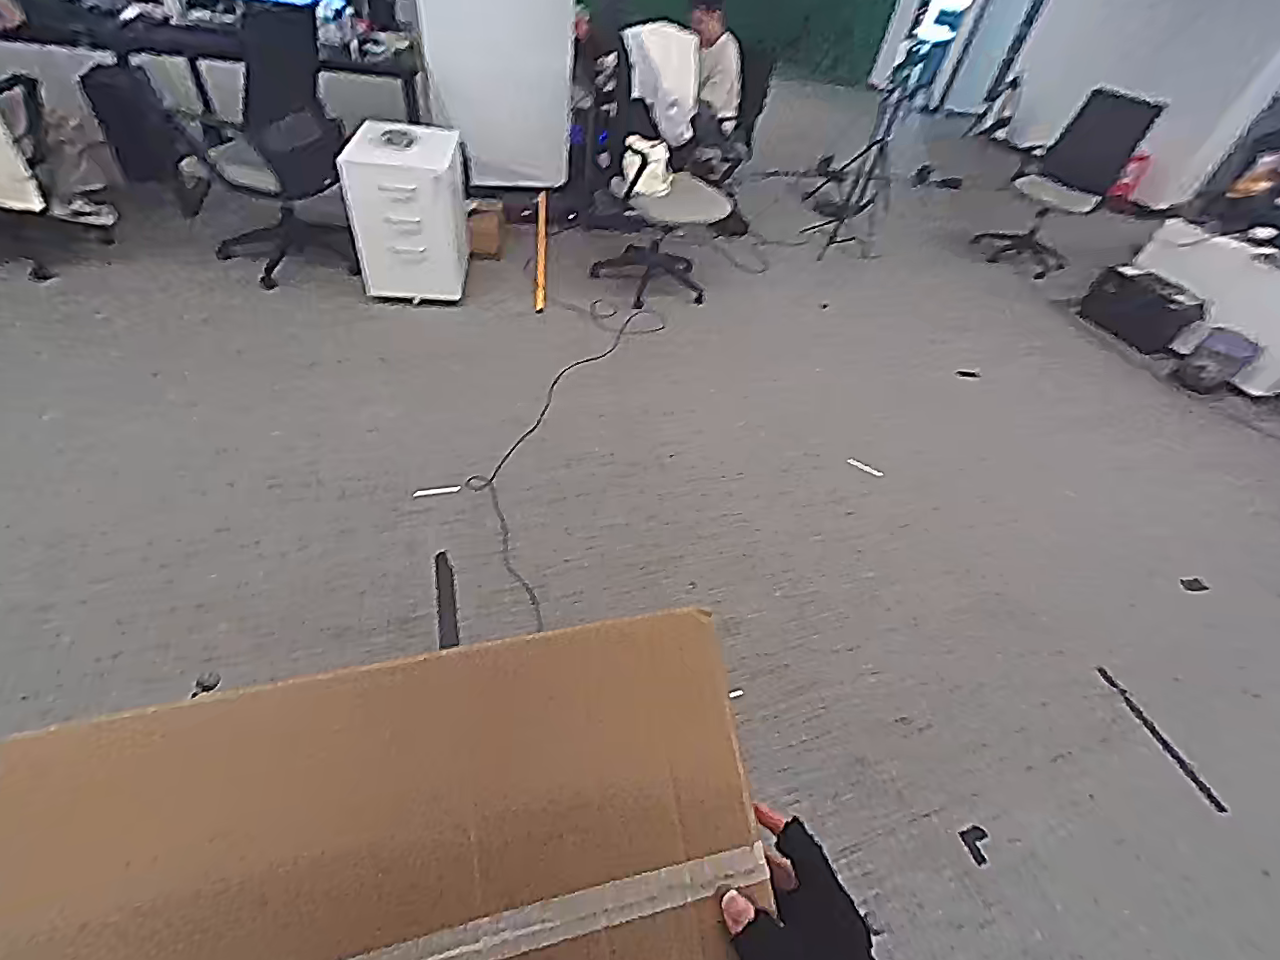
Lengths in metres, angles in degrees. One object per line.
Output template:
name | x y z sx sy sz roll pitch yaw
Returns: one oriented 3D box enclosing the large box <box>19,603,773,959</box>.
large box | -0.147 0.303 0.448 0.408 0.320 0.320 -8 76 -12
